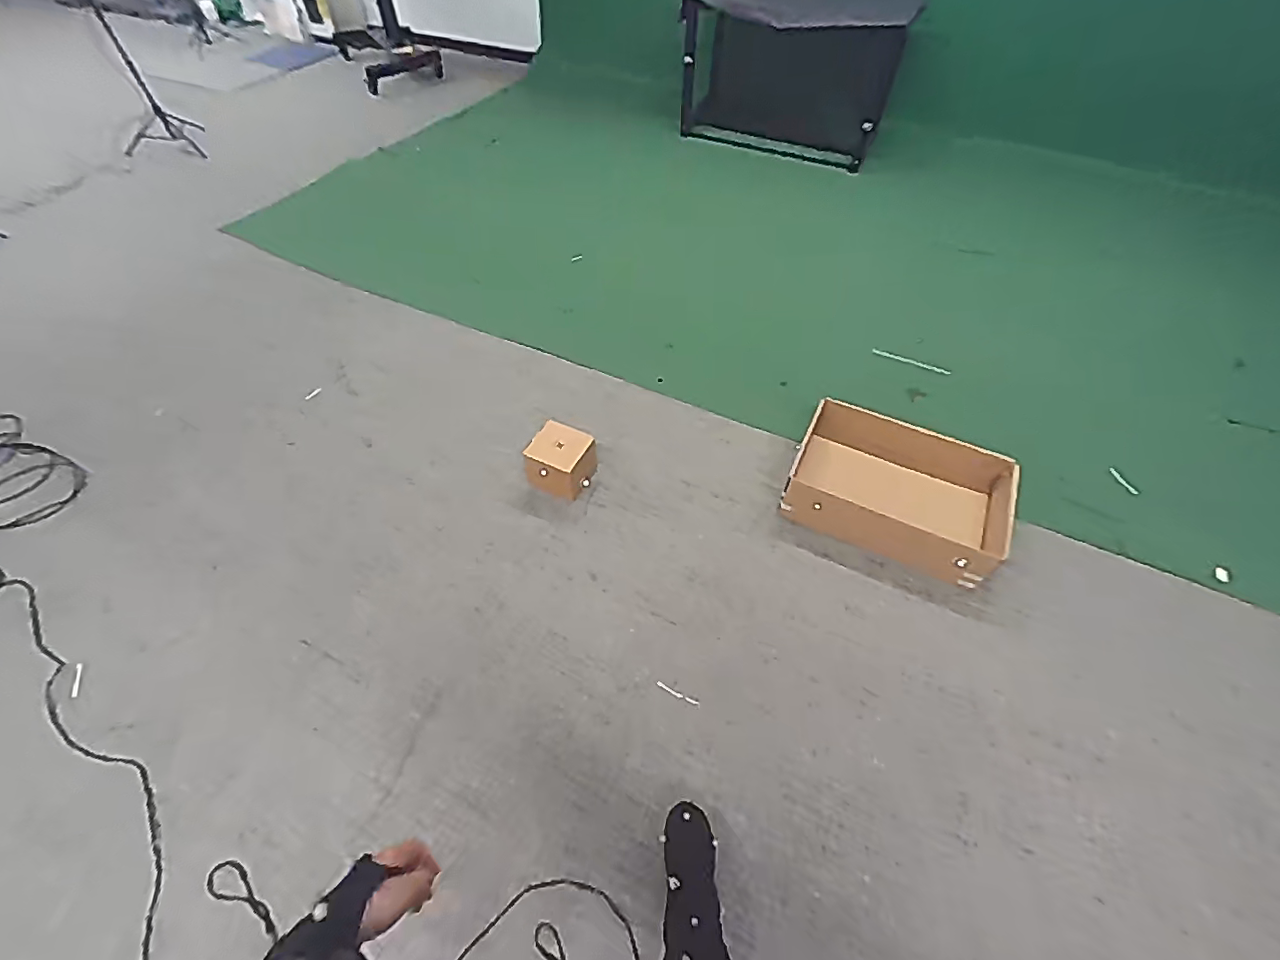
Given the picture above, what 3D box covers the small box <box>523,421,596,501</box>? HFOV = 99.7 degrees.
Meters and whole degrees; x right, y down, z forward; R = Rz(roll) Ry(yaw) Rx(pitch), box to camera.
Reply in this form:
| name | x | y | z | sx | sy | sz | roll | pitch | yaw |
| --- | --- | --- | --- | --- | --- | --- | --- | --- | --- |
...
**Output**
| name | x | y | z | sx | sy | sz | roll | pitch | yaw |
| --- | --- | --- | --- | --- | --- | --- | --- | --- | --- |
| small box | -0.256 | -0.057 | 1.762 | 0.179 | 0.176 | 0.168 | 22 | 56 | 13 |
